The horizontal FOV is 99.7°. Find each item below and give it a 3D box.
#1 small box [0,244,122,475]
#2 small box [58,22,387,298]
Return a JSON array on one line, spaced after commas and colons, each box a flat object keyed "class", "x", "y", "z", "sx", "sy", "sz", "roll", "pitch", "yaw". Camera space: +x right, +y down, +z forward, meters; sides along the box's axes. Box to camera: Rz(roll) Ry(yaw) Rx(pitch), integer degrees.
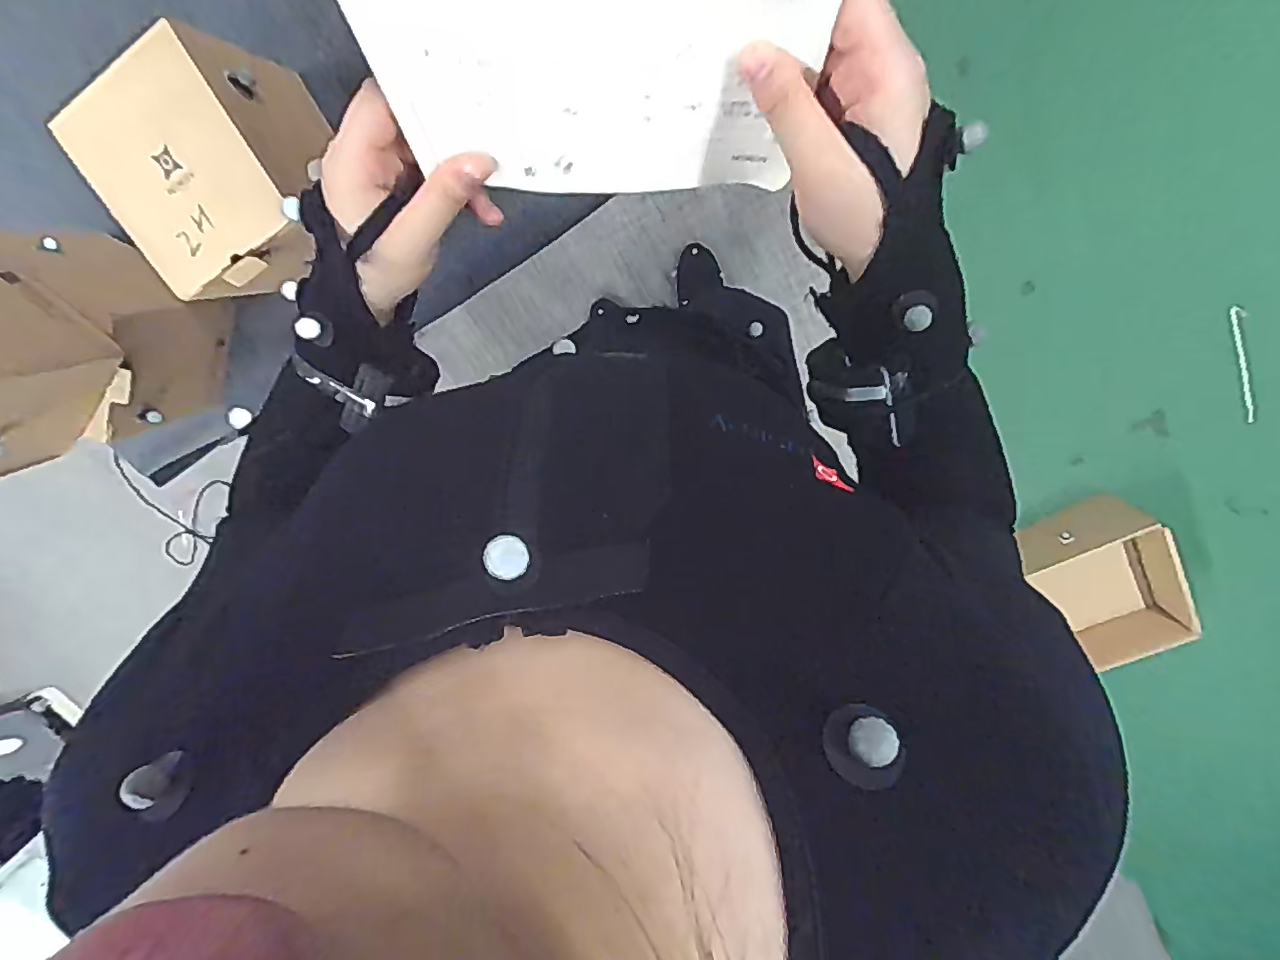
[{"class": "small box", "x": -0.661, "y": -0.105, "z": 0.513, "sx": 0.168, "sy": 0.176, "sz": 0.179, "roll": 44, "pitch": 112, "yaw": -13}, {"class": "small box", "x": -0.416, "y": -0.314, "z": 0.573, "sx": 0.168, "sy": 0.176, "sz": 0.179, "roll": -24, "pitch": 109, "yaw": 16}]
